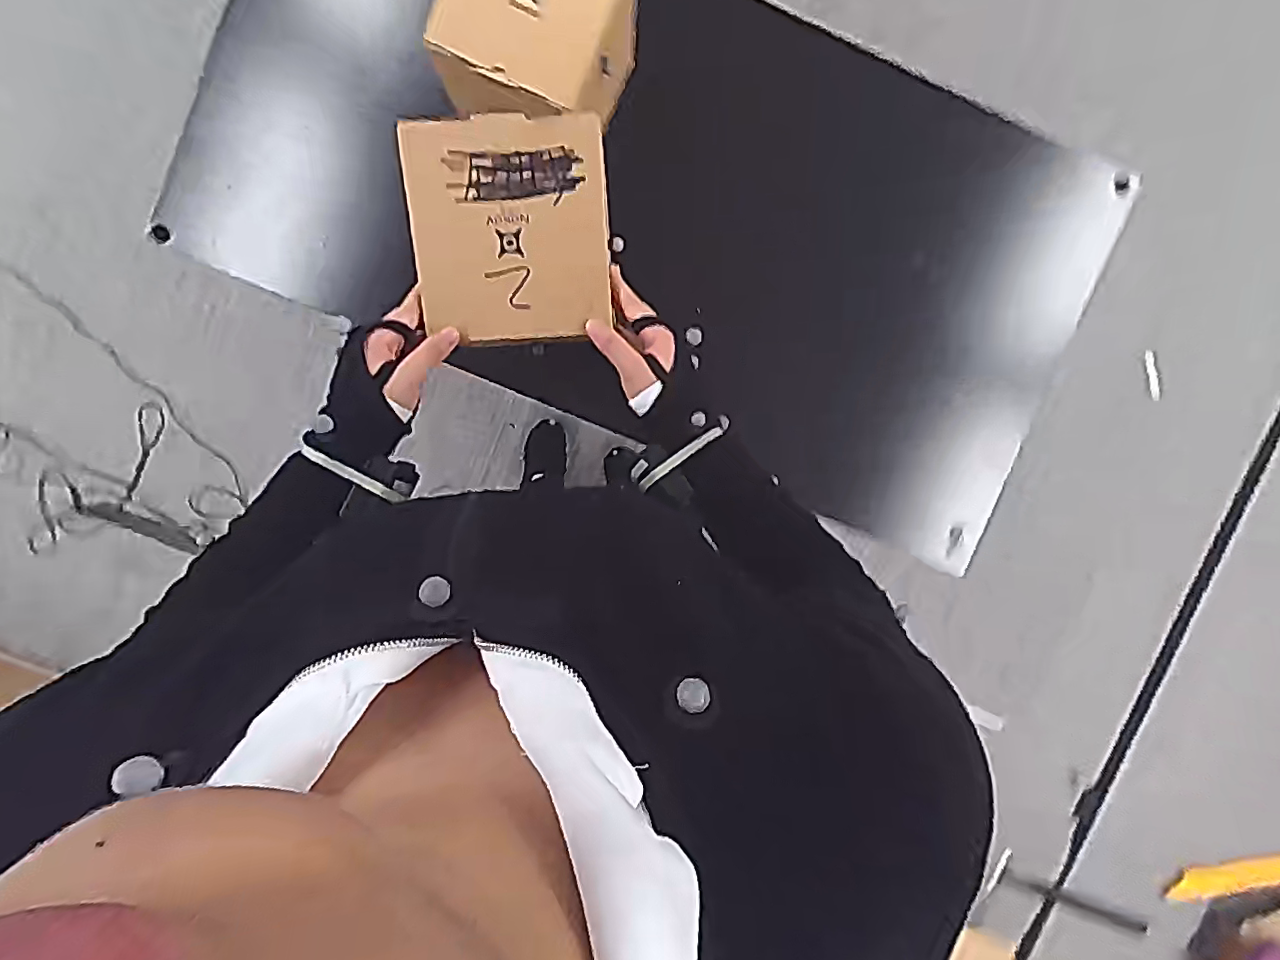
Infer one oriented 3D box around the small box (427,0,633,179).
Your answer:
[{"bbox_3d":[-0.116,-0.501,0.633,0.168,0.176,0.179,24,94,-4],"label":"small box"}]
